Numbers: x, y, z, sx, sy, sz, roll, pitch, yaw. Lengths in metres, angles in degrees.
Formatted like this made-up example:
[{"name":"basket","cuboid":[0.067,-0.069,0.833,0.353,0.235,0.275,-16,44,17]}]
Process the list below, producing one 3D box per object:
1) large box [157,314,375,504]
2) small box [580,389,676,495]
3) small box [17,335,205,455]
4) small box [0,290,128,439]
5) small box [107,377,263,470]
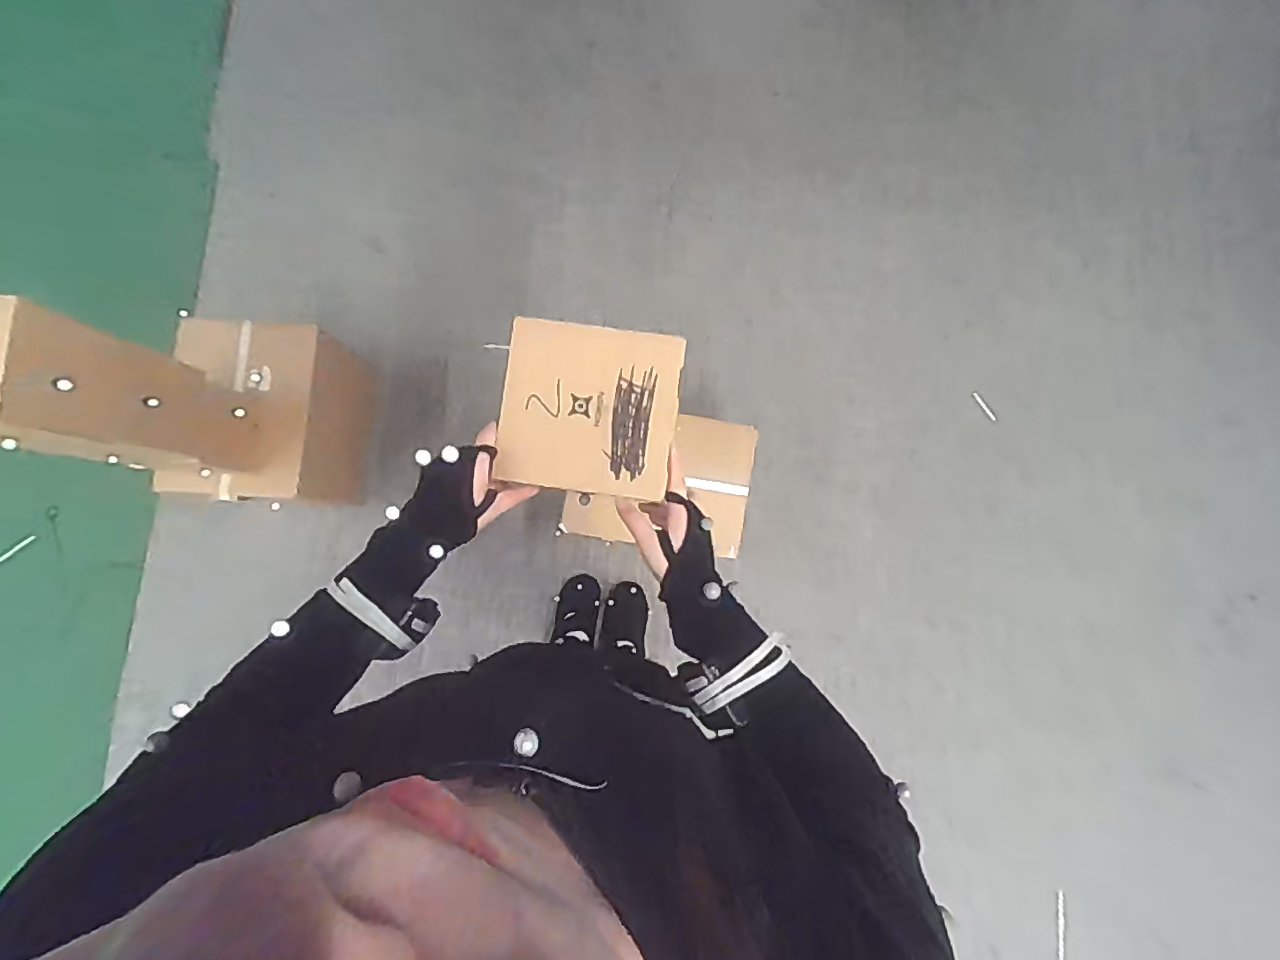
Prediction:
[{"name":"large box","cuboid":[-0.903,-0.155,1.357,0.320,0.320,0.408,4,83,-2]},{"name":"small box","cuboid":[-0.025,-0.070,1.136,0.168,0.176,0.179,10,81,-1]},{"name":"small box","cuboid":[-0.908,-0.140,0.945,0.168,0.176,0.179,-1,83,-3]},{"name":"small box","cuboid":[-0.900,-0.158,0.781,0.168,0.176,0.179,1,84,-2]},{"name":"small box","cuboid":[-0.915,-0.114,1.107,0.179,0.176,0.168,3,83,-1]}]
